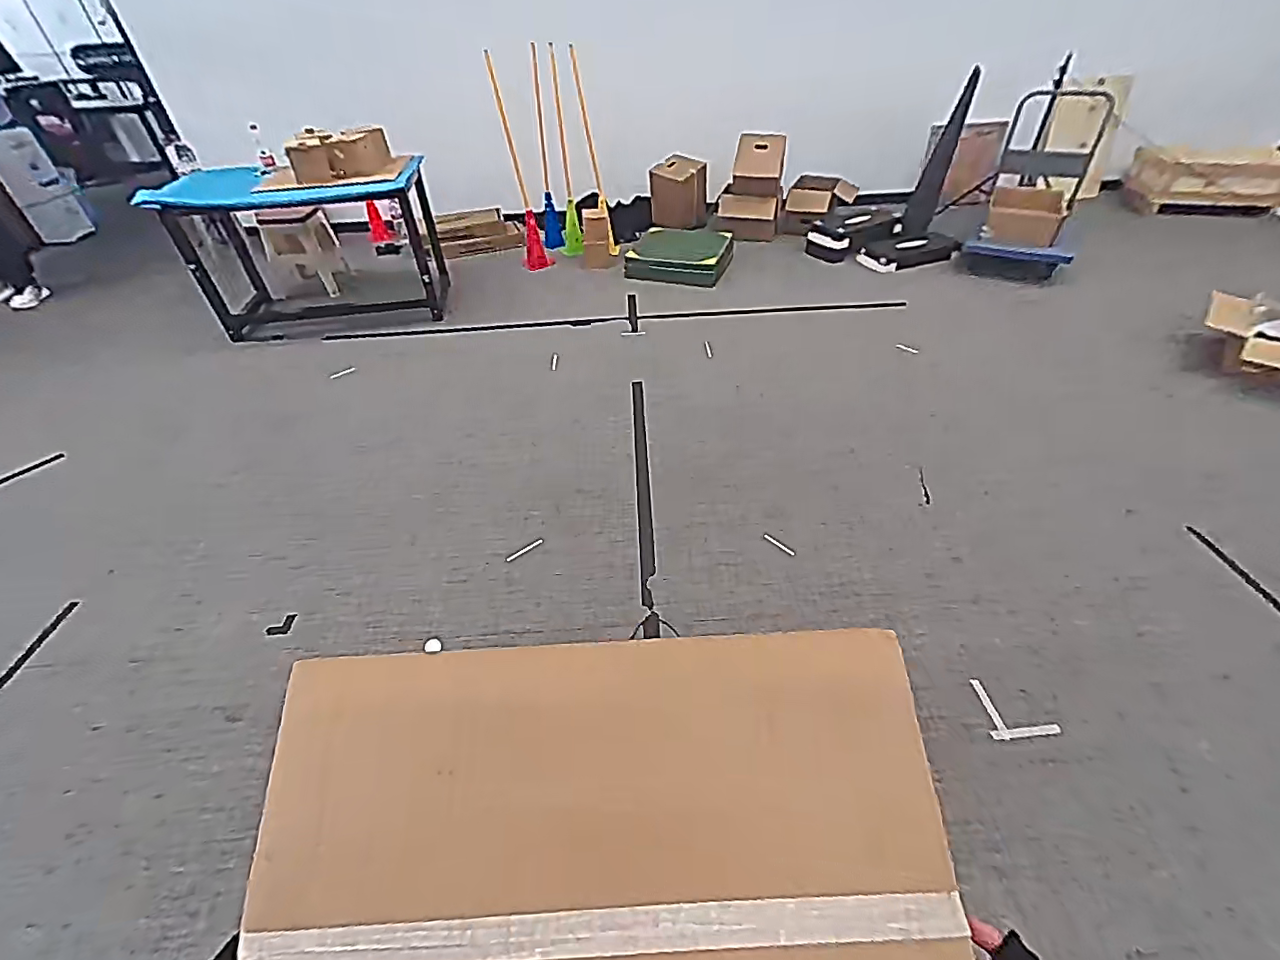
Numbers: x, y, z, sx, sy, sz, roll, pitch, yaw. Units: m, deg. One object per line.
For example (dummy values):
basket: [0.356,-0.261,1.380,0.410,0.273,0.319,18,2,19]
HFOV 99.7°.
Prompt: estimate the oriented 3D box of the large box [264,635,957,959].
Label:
large box: [-0.017,0.320,0.449,0.408,0.320,0.320,-3,67,0]
